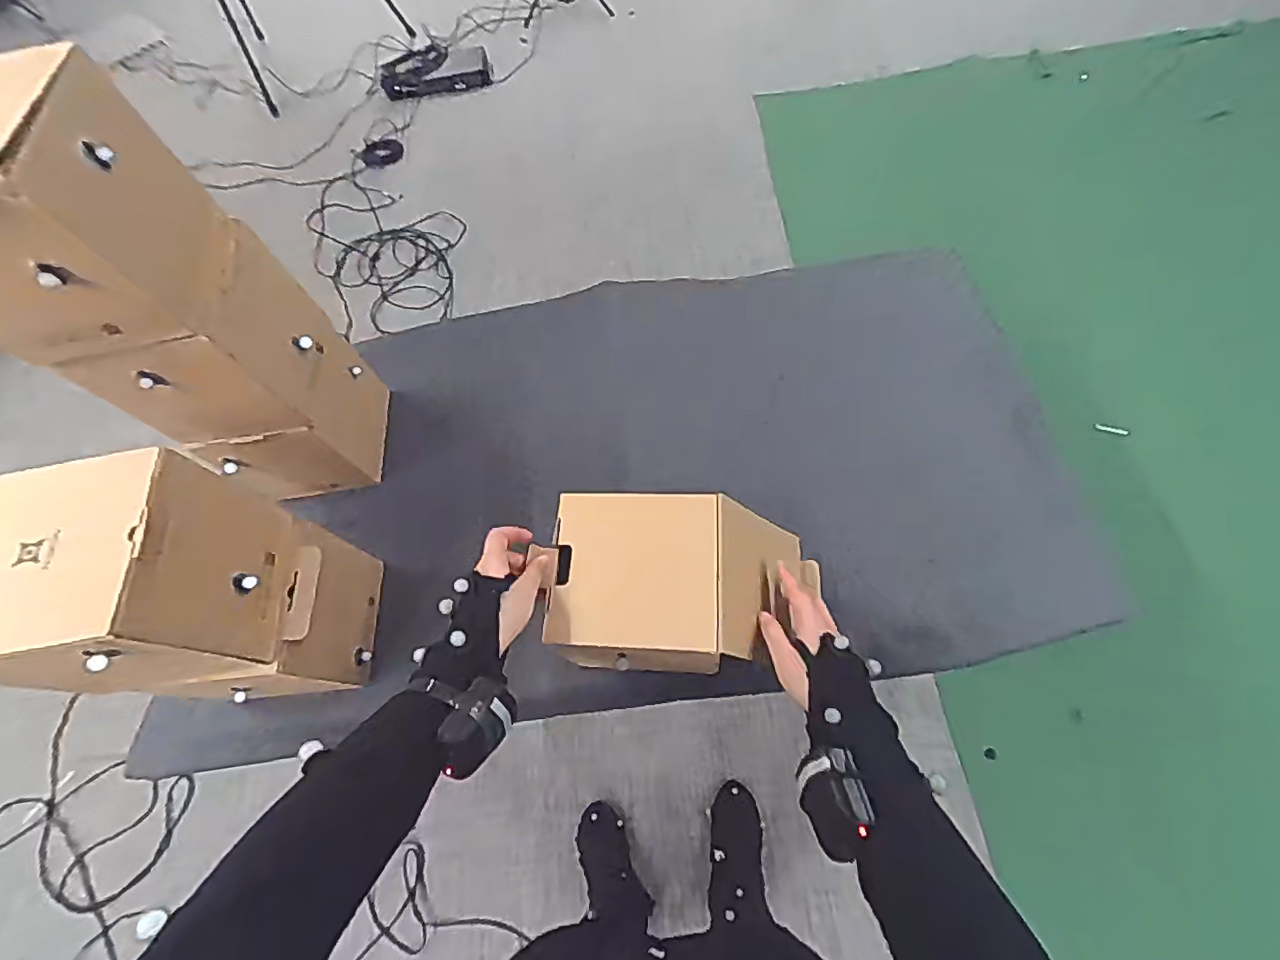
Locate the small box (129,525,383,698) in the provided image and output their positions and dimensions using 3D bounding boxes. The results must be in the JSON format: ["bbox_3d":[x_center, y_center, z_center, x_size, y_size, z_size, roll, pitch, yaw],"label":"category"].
[{"bbox_3d":[-0.438,0.165,0.650,0.179,0.176,0.168,-7,64,4],"label":"small box"}]

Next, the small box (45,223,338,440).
[{"bbox_3d":[-0.493,-0.160,0.627,0.179,0.176,0.168,-8,65,2],"label":"small box"}]

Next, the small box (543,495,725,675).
[{"bbox_3d":[0.007,0.126,0.618,0.179,0.176,0.168,0,65,8],"label":"small box"}]

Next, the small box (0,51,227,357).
[{"bbox_3d":[-0.516,-0.228,0.481,0.168,0.176,0.179,-11,63,0],"label":"small box"}]

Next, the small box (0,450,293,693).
[{"bbox_3d":[-0.470,0.095,0.506,0.179,0.176,0.168,-11,64,1],"label":"small box"}]
